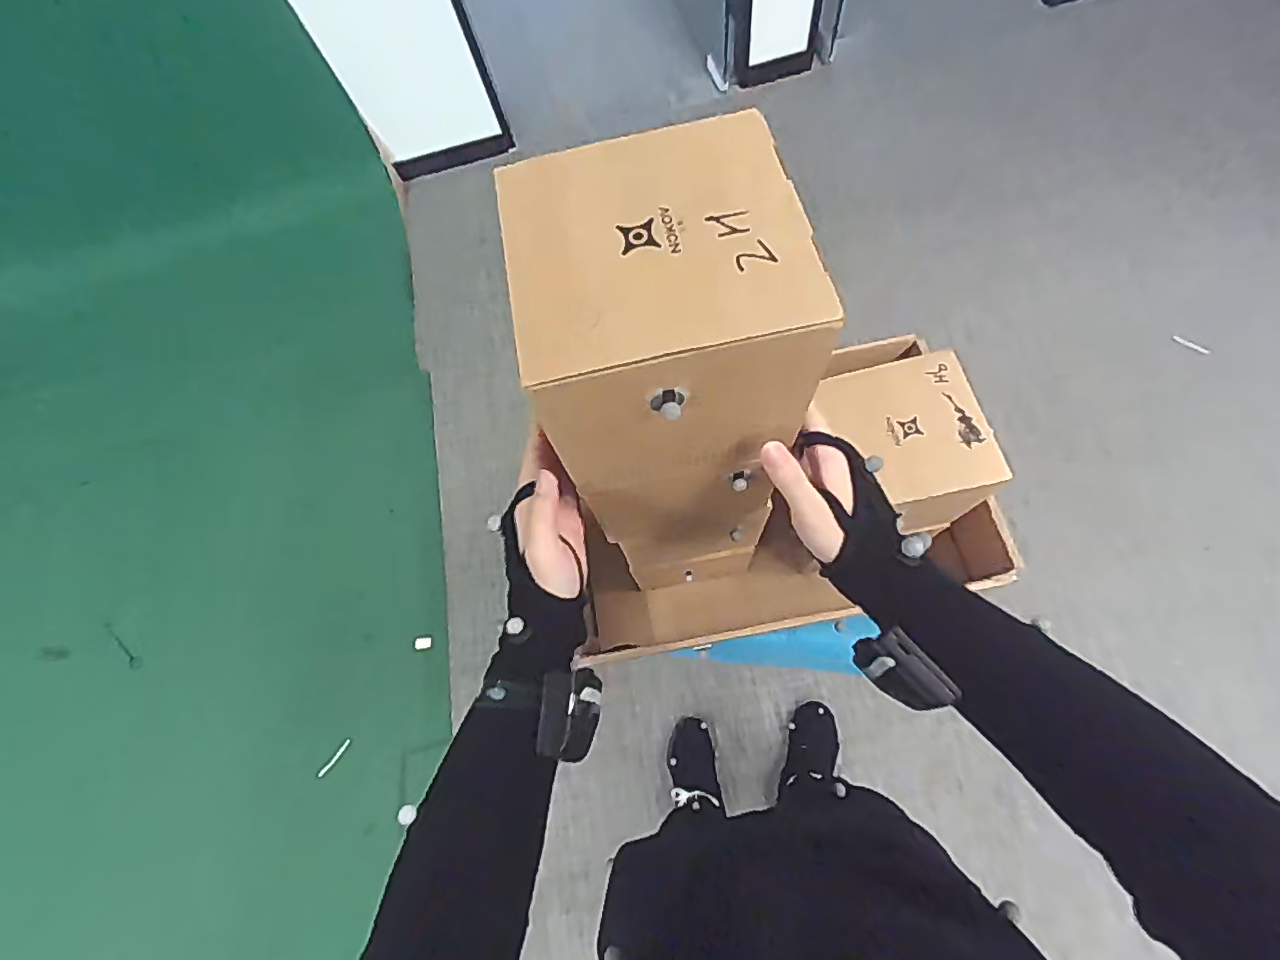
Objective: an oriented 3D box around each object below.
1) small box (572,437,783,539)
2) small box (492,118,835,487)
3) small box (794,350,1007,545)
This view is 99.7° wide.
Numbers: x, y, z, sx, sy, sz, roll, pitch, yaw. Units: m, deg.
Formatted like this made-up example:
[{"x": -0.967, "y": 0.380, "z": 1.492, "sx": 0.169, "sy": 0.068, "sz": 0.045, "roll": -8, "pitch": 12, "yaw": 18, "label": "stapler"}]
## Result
[{"x": 0.026, "y": -0.050, "z": 0.538, "sx": 0.179, "sy": 0.176, "sz": 0.168, "roll": -11, "pitch": 68, "yaw": 0, "label": "small box"}, {"x": 0.012, "y": -0.107, "z": 0.385, "sx": 0.179, "sy": 0.176, "sz": 0.168, "roll": -11, "pitch": 69, "yaw": 0, "label": "small box"}, {"x": 0.297, "y": -0.028, "z": 0.667, "sx": 0.179, "sy": 0.176, "sz": 0.168, "roll": -14, "pitch": 69, "yaw": 5, "label": "small box"}]
